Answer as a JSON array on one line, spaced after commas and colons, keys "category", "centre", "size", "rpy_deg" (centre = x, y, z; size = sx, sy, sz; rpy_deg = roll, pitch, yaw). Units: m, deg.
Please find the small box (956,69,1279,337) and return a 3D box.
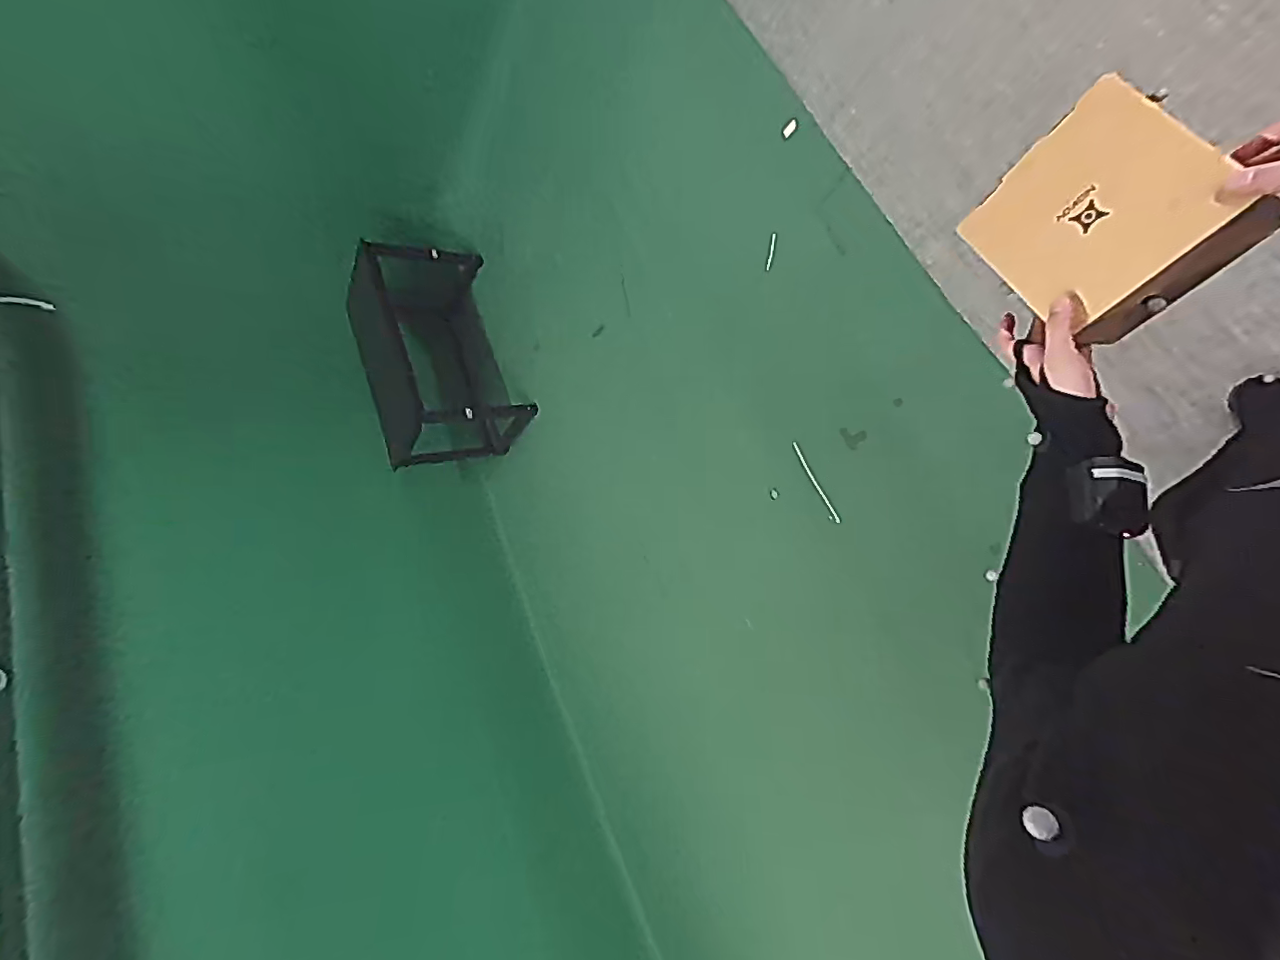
[{"category": "small box", "centre": [0.484, -0.267, 0.556], "size": [0.168, 0.176, 0.179], "rpy_deg": [-51, 56, 46]}]
